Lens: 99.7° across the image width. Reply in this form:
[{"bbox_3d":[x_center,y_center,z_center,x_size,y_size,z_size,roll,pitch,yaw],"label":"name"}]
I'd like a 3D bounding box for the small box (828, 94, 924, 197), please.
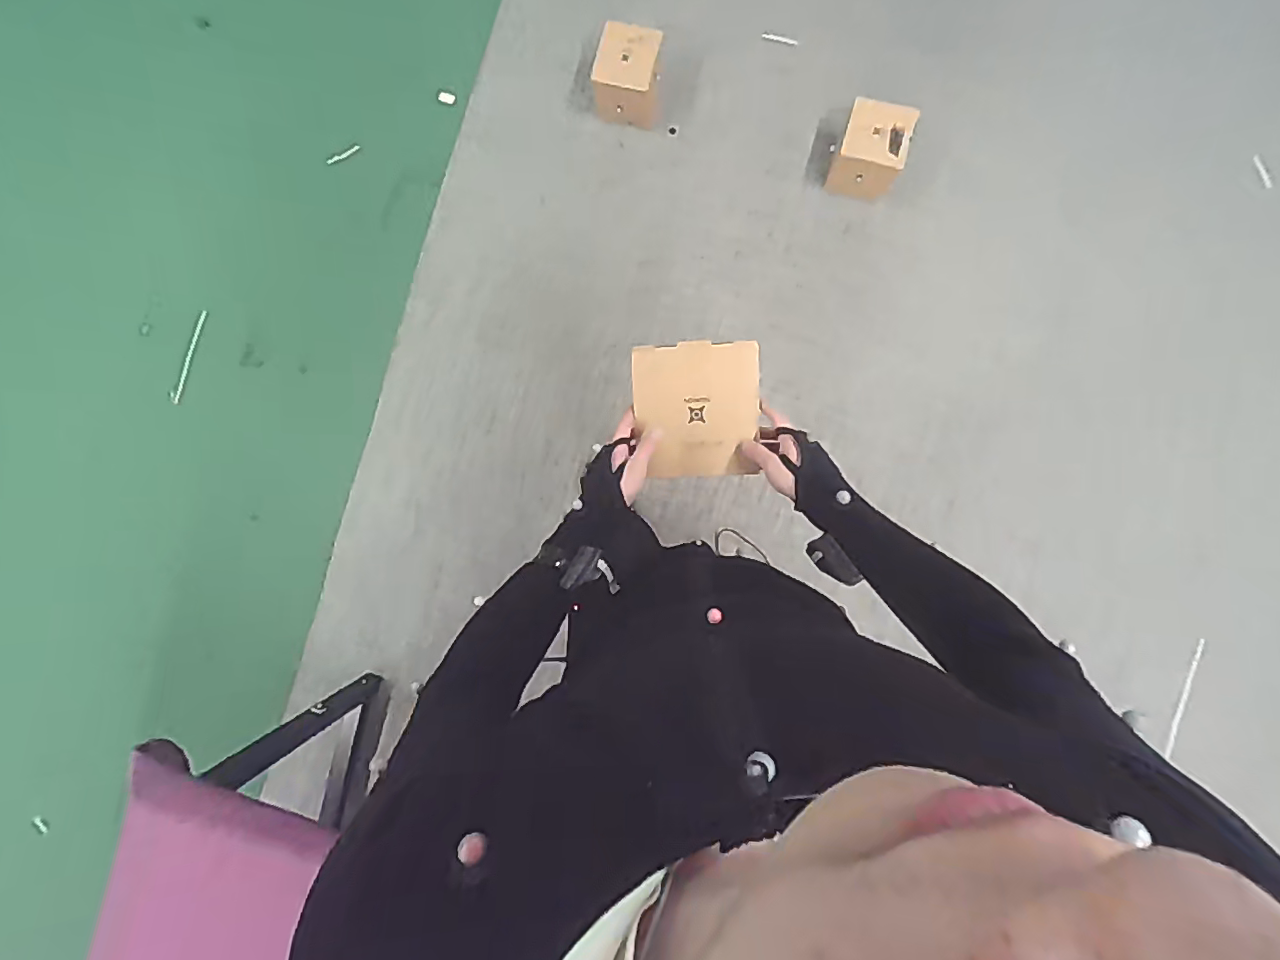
[{"bbox_3d":[0.649,-0.921,1.505,0.179,0.176,0.168,16,90,5],"label":"small box"}]

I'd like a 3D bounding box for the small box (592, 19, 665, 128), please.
[{"bbox_3d":[-0.025,-1.166,1.564,0.168,0.176,0.179,16,90,4],"label":"small box"}]

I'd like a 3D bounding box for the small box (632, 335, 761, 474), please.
[{"bbox_3d":[0.076,-0.107,0.772,0.168,0.176,0.179,-1,100,4],"label":"small box"}]
